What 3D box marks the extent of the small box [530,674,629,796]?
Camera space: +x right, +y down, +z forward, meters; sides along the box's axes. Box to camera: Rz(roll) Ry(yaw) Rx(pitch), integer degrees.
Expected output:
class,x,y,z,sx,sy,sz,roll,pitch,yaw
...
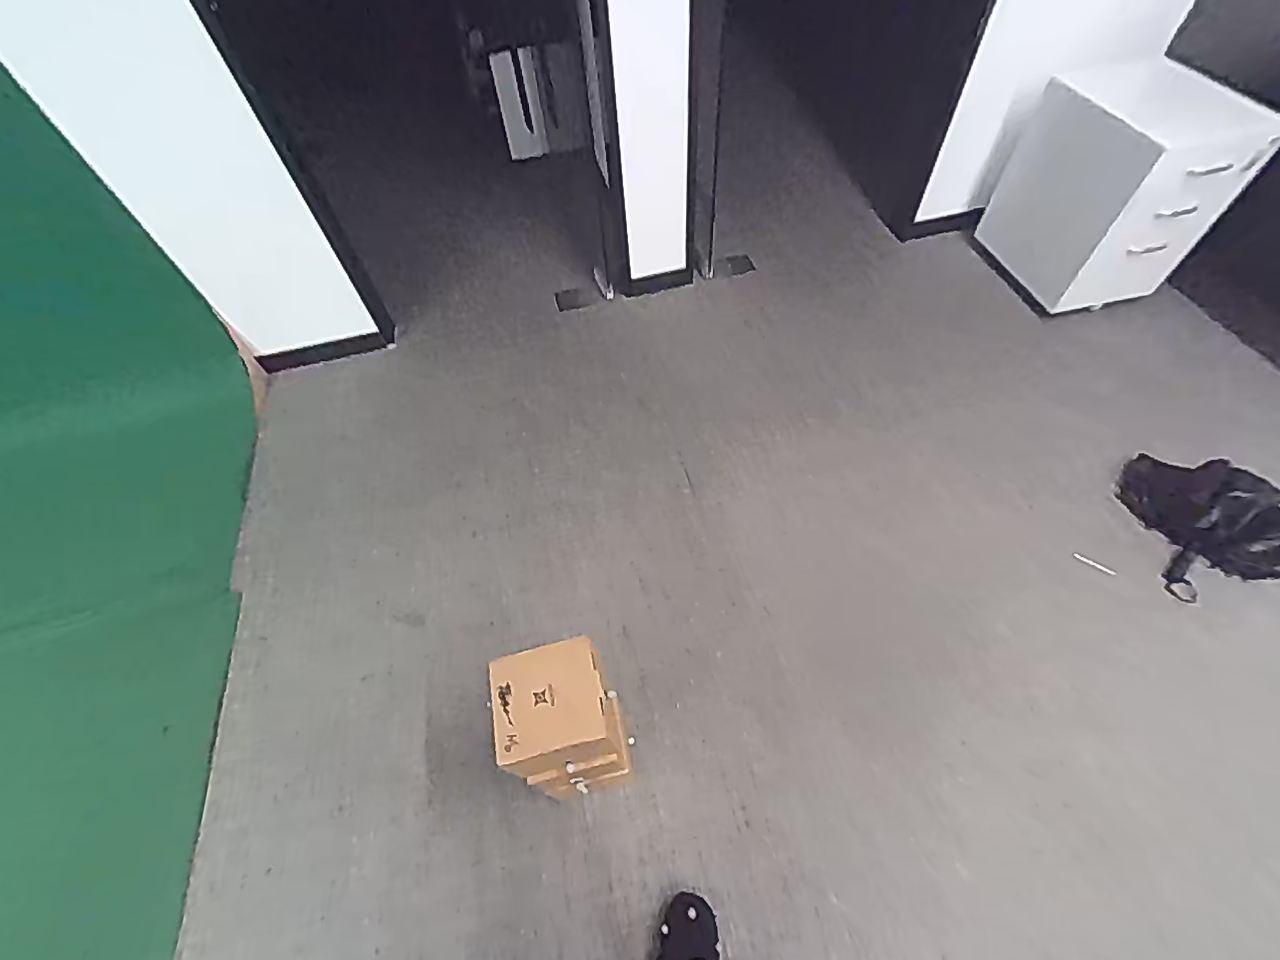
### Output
class,x,y,z,sx,sy,sz,roll,pitch,yaw
small box,-0.124,0.502,1.066,0.168,0.176,0.179,-14,57,-3

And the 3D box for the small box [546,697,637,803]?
class,x,y,z,sx,sy,sz,roll,pitch,yaw
small box,-0.110,0.600,1.193,0.179,0.176,0.168,-11,55,-3

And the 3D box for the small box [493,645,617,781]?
class,x,y,z,sx,sy,sz,roll,pitch,yaw
small box,-0.141,0.406,0.934,0.179,0.176,0.168,-13,55,-3
